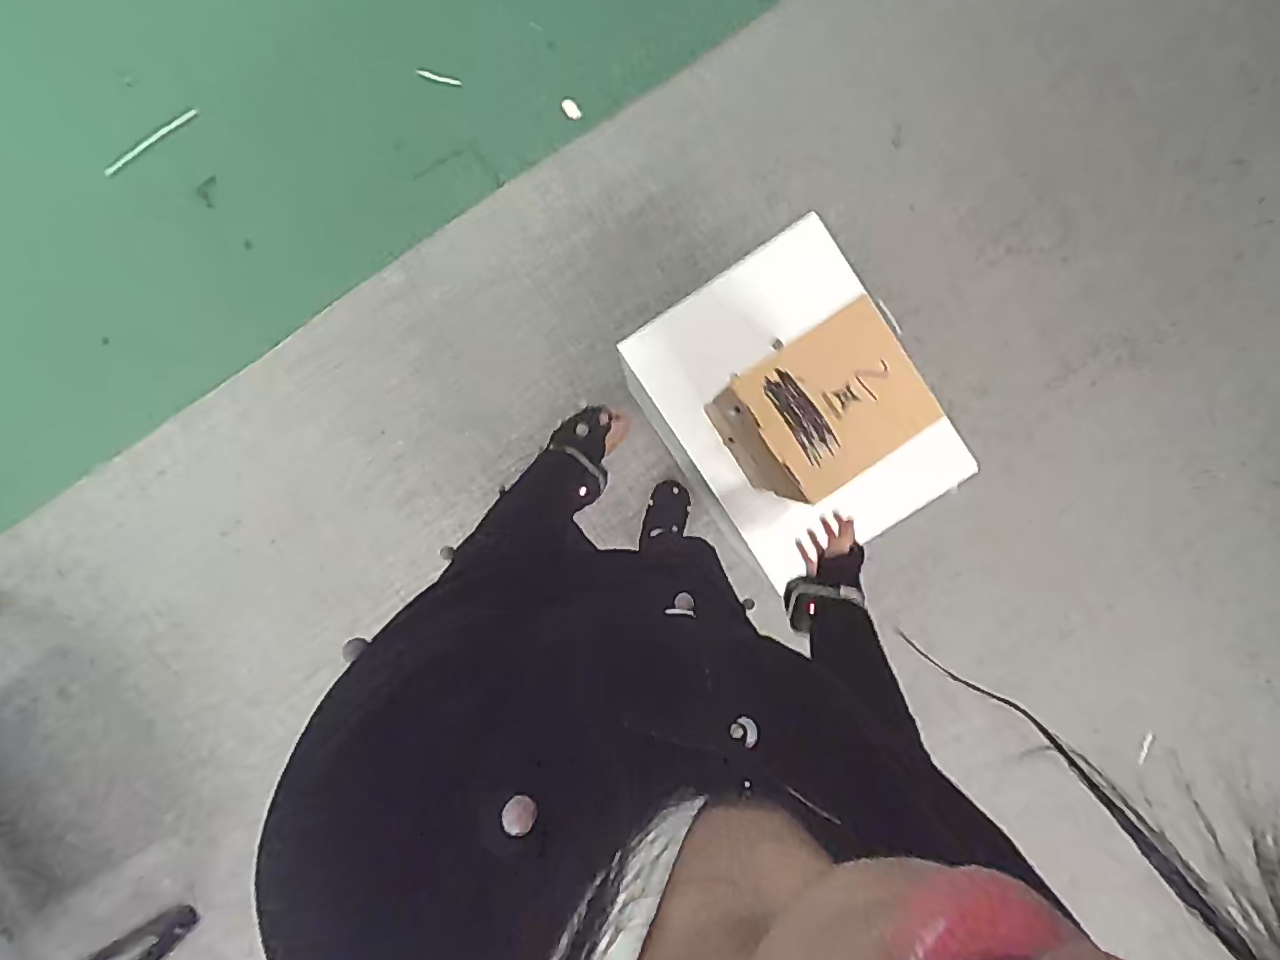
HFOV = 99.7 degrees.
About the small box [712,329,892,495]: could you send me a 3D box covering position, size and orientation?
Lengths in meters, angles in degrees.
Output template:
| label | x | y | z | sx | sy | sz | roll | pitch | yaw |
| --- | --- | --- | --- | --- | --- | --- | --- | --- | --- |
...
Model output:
| label | x | y | z | sx | sy | sz | roll | pitch | yaw |
| --- | --- | --- | --- | --- | --- | --- | --- | --- | --- |
| small box | 0.228 | -0.094 | 0.810 | 0.179 | 0.176 | 0.168 | -33 | 91 | 1 |
